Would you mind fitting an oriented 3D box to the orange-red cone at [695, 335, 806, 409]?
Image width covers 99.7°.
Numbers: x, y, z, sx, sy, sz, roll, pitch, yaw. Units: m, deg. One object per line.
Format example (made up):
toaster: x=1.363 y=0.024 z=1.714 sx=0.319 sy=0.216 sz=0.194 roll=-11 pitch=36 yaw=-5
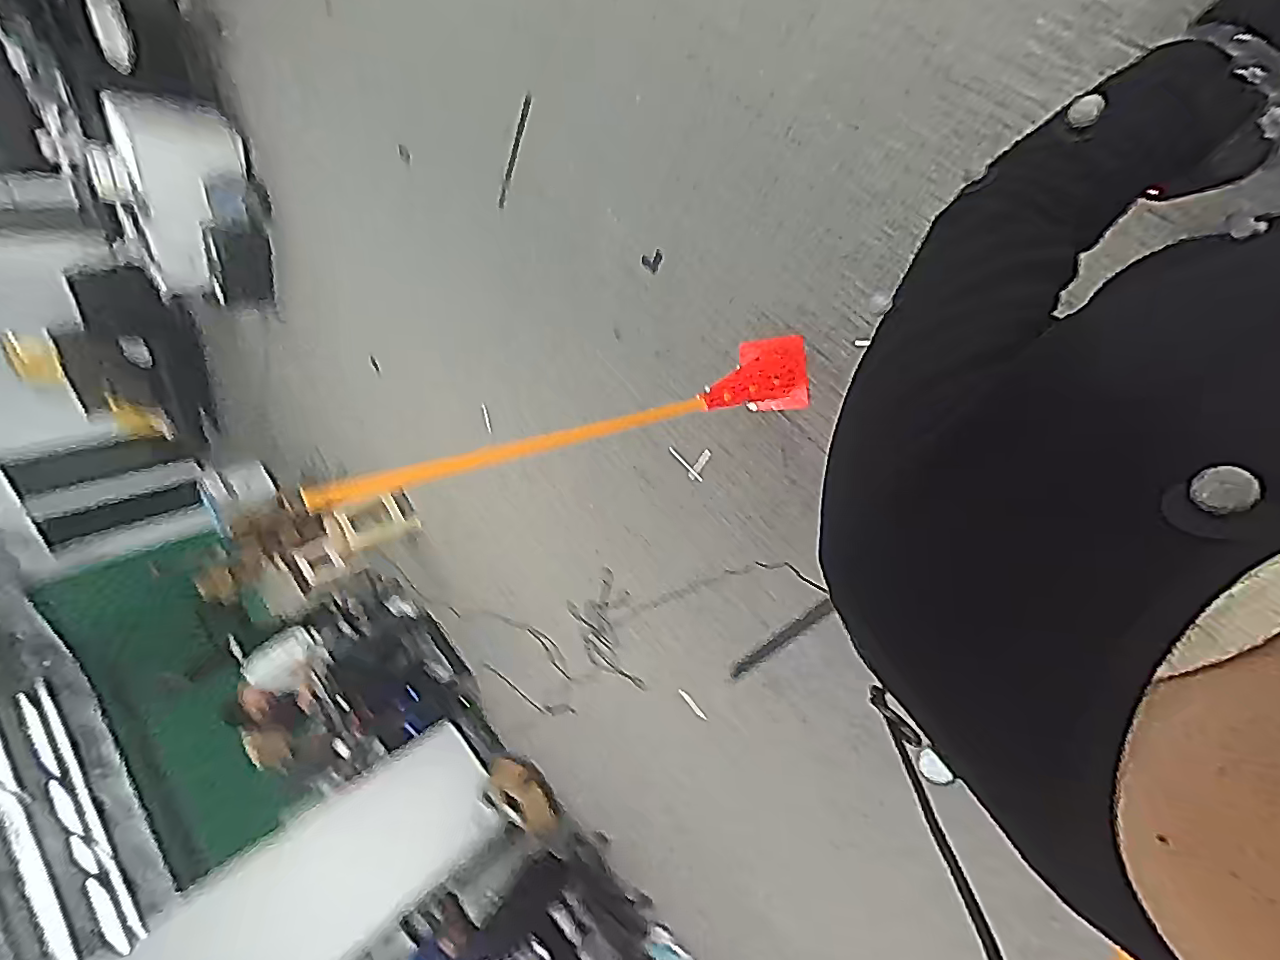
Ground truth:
orange-red cone: x=0.259 y=-0.245 z=1.397 sx=0.199 sy=0.360 sz=0.198 roll=5 pitch=113 yaw=41
